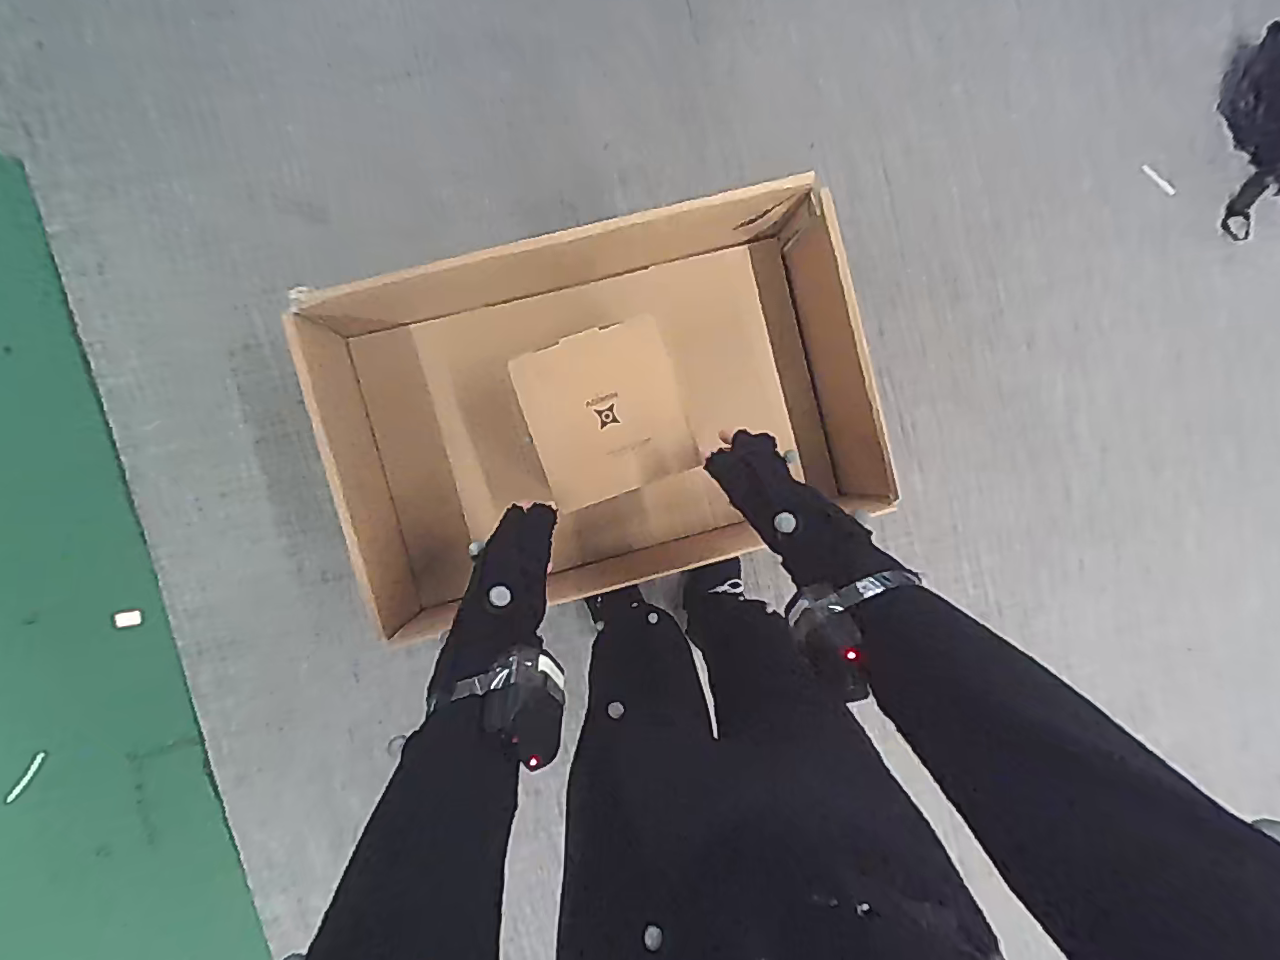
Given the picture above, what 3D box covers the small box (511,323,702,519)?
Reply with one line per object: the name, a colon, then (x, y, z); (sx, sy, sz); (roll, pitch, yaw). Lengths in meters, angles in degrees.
small box: (-0.041, -0.065, 0.658); (0.168, 0.176, 0.179); (-19, 93, -3)
